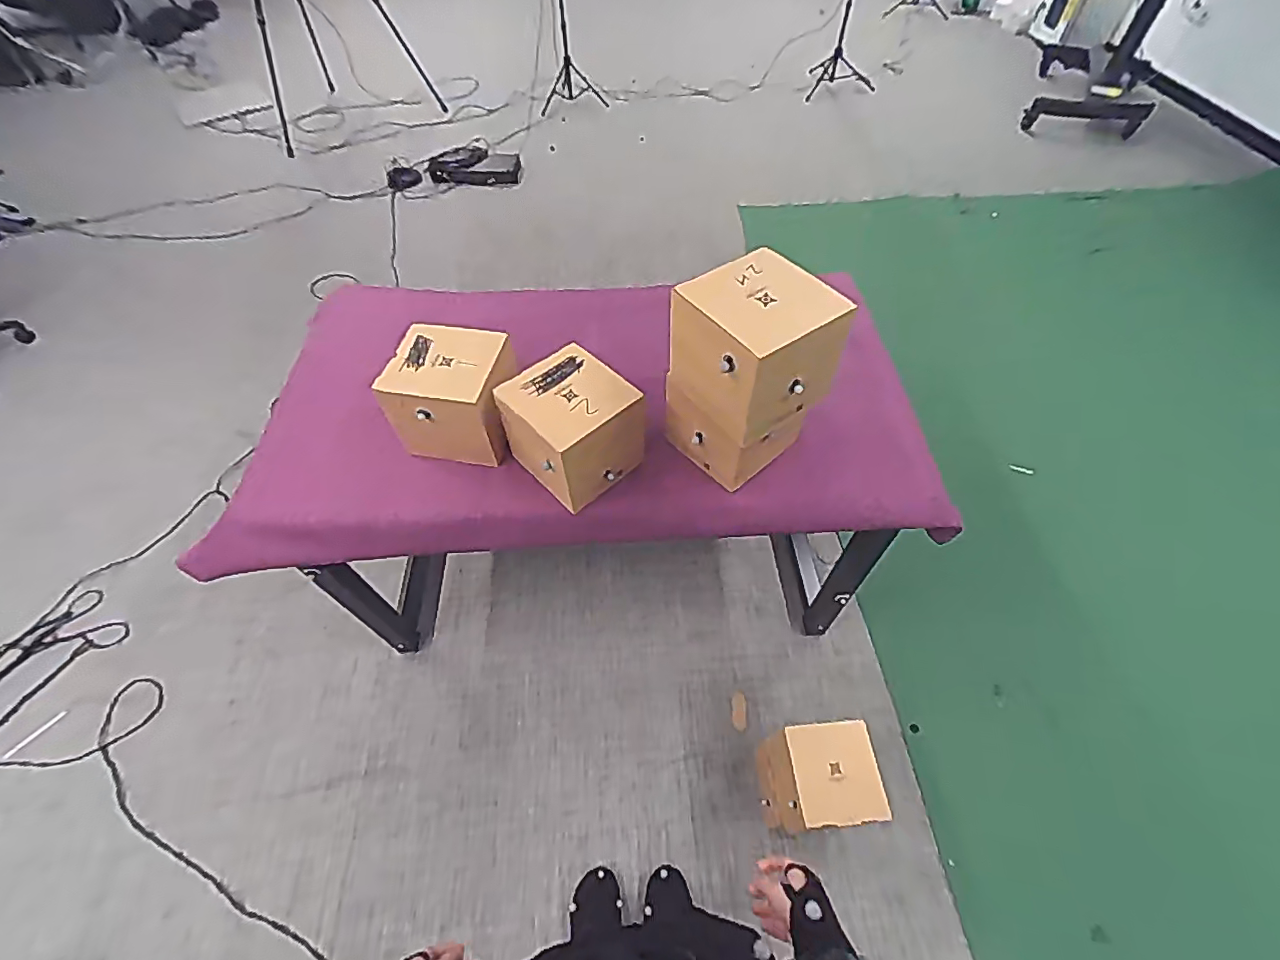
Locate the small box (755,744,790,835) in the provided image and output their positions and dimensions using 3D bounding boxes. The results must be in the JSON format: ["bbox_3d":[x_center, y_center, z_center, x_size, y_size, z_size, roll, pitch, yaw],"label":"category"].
[{"bbox_3d":[0.365,0.704,1.227,0.179,0.176,0.168,-2,55,-1],"label":"small box"}]

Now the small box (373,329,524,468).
[{"bbox_3d":[-0.321,-0.139,0.947,0.179,0.176,0.168,8,55,6],"label":"small box"}]

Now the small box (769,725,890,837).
[{"bbox_3d":[0.369,0.611,1.094,0.168,0.176,0.179,-4,56,-2],"label":"small box"}]

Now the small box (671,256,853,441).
[{"bbox_3d":[0.159,-0.177,0.763,0.168,0.176,0.179,-29,57,-19],"label":"small box"}]

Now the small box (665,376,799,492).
[{"bbox_3d":[0.161,-0.111,0.919,0.179,0.176,0.168,-36,61,-22],"label":"small box"}]
